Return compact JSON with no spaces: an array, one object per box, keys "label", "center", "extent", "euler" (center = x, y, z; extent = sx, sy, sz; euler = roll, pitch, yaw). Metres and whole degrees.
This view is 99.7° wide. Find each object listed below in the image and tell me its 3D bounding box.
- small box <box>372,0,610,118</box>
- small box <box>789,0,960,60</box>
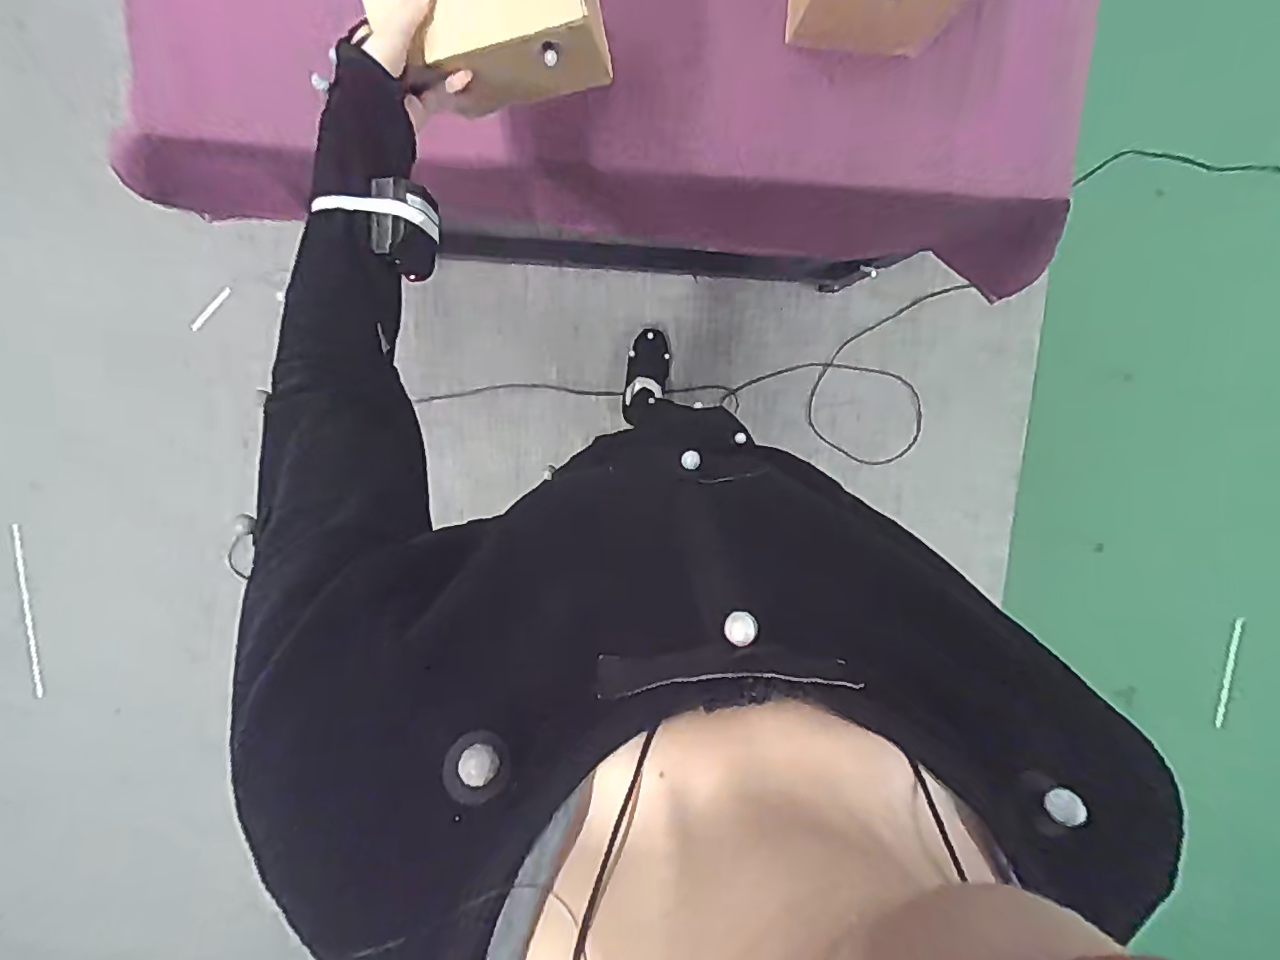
[{"label":"small box","center":[-0.135,-0.458,0.492],"extent":[0.179,0.176,0.168],"euler":[-10,111,7]},{"label":"small box","center":[0.281,-0.615,0.610],"extent":[0.179,0.176,0.168],"euler":[3,99,-4]}]
